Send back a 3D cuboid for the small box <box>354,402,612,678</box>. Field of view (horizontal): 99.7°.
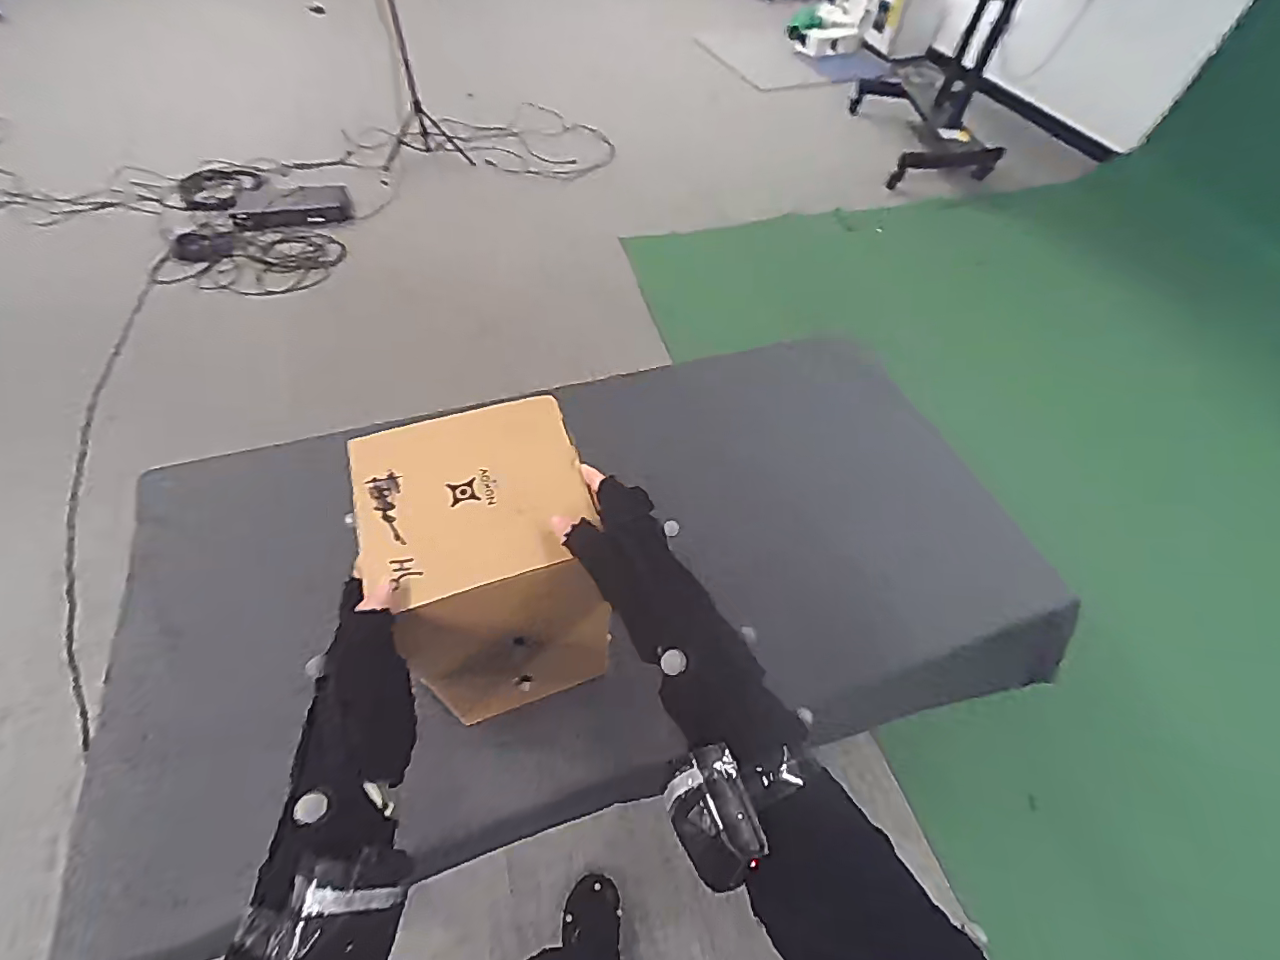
[{"bbox_3d":[-0.137,0.058,0.491,0.179,0.176,0.168,-14,58,-16],"label":"small box"}]

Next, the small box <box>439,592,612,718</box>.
[{"bbox_3d":[-0.145,0.150,0.630,0.179,0.176,0.168,-19,58,-17],"label":"small box"}]
